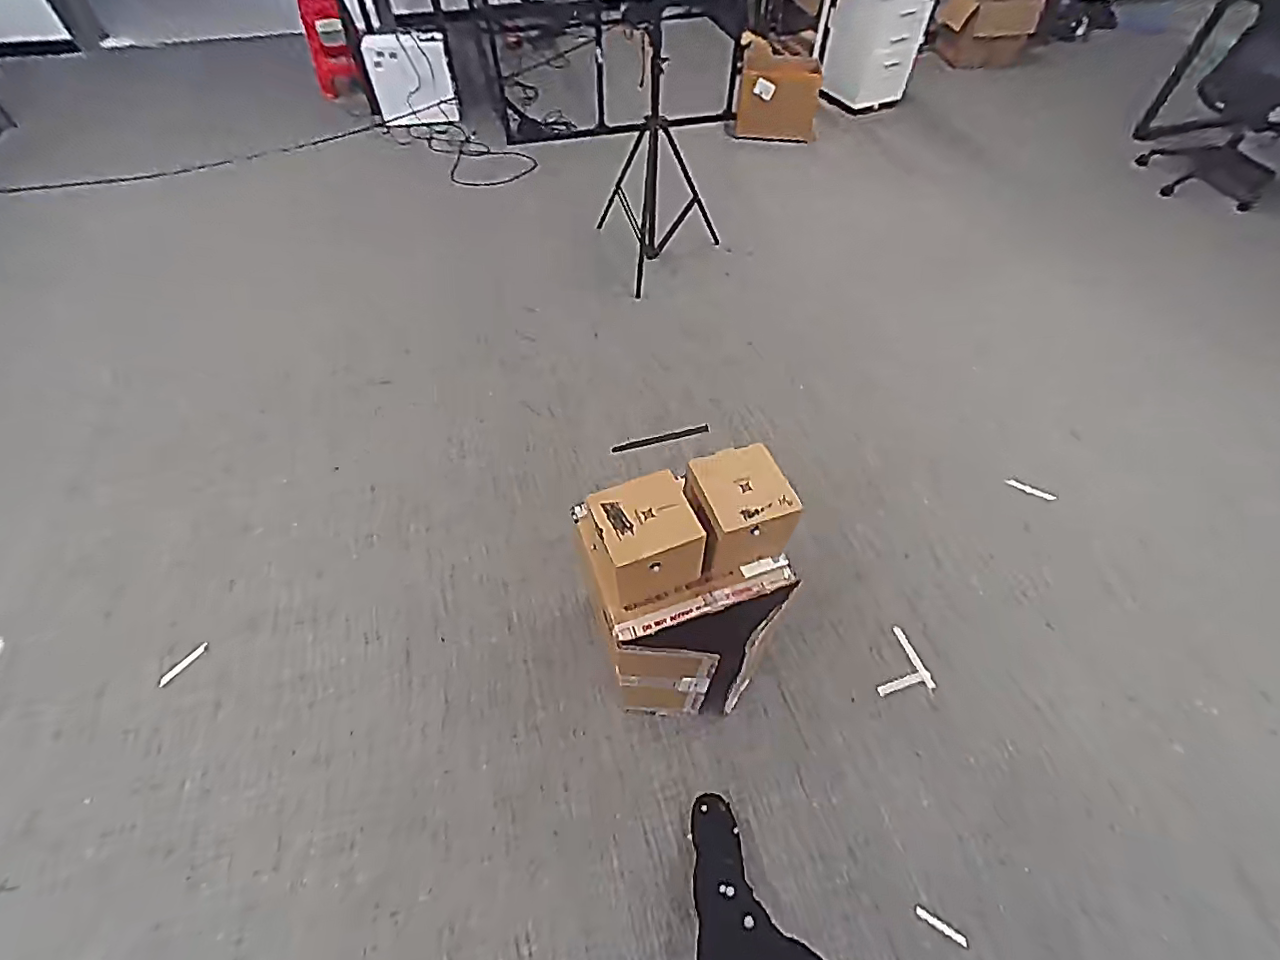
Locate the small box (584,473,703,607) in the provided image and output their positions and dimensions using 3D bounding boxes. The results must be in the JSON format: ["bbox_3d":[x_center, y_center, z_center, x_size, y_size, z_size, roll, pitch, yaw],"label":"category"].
[{"bbox_3d":[0.006,0.120,1.041,0.179,0.176,0.168,-18,55,-12],"label":"small box"}]

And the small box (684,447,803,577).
[{"bbox_3d":[0.192,0.065,1.084,0.168,0.176,0.179,-14,53,-13],"label":"small box"}]
